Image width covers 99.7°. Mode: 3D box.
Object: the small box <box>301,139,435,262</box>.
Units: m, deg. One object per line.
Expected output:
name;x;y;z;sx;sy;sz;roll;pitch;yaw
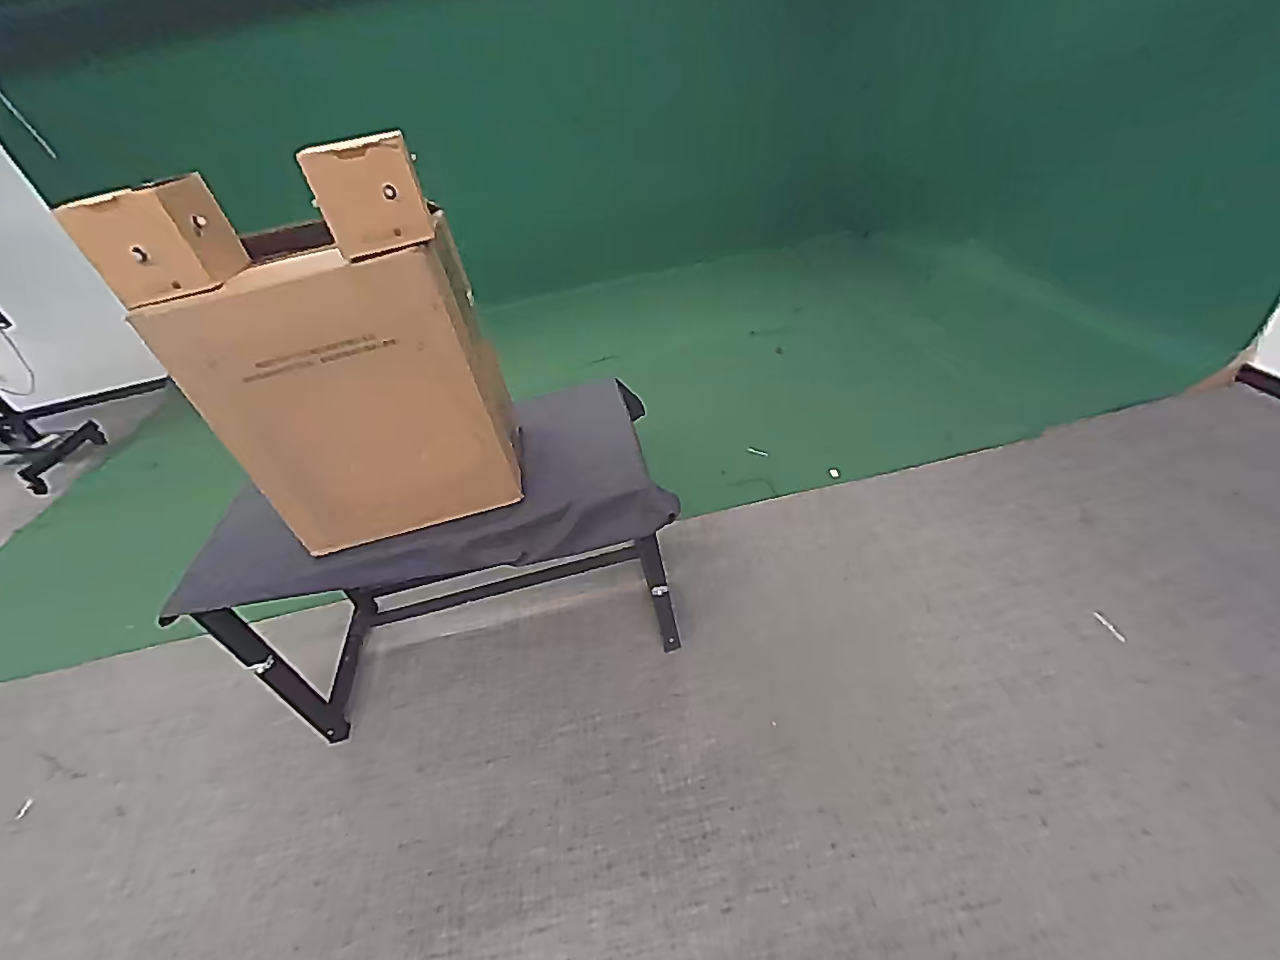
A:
small box;-0.492;-0.518;1.004;0.168;0.176;0.179;-18;37;-11

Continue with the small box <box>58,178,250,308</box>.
small box;-0.867;-0.430;0.991;0.168;0.176;0.179;-15;38;-3
